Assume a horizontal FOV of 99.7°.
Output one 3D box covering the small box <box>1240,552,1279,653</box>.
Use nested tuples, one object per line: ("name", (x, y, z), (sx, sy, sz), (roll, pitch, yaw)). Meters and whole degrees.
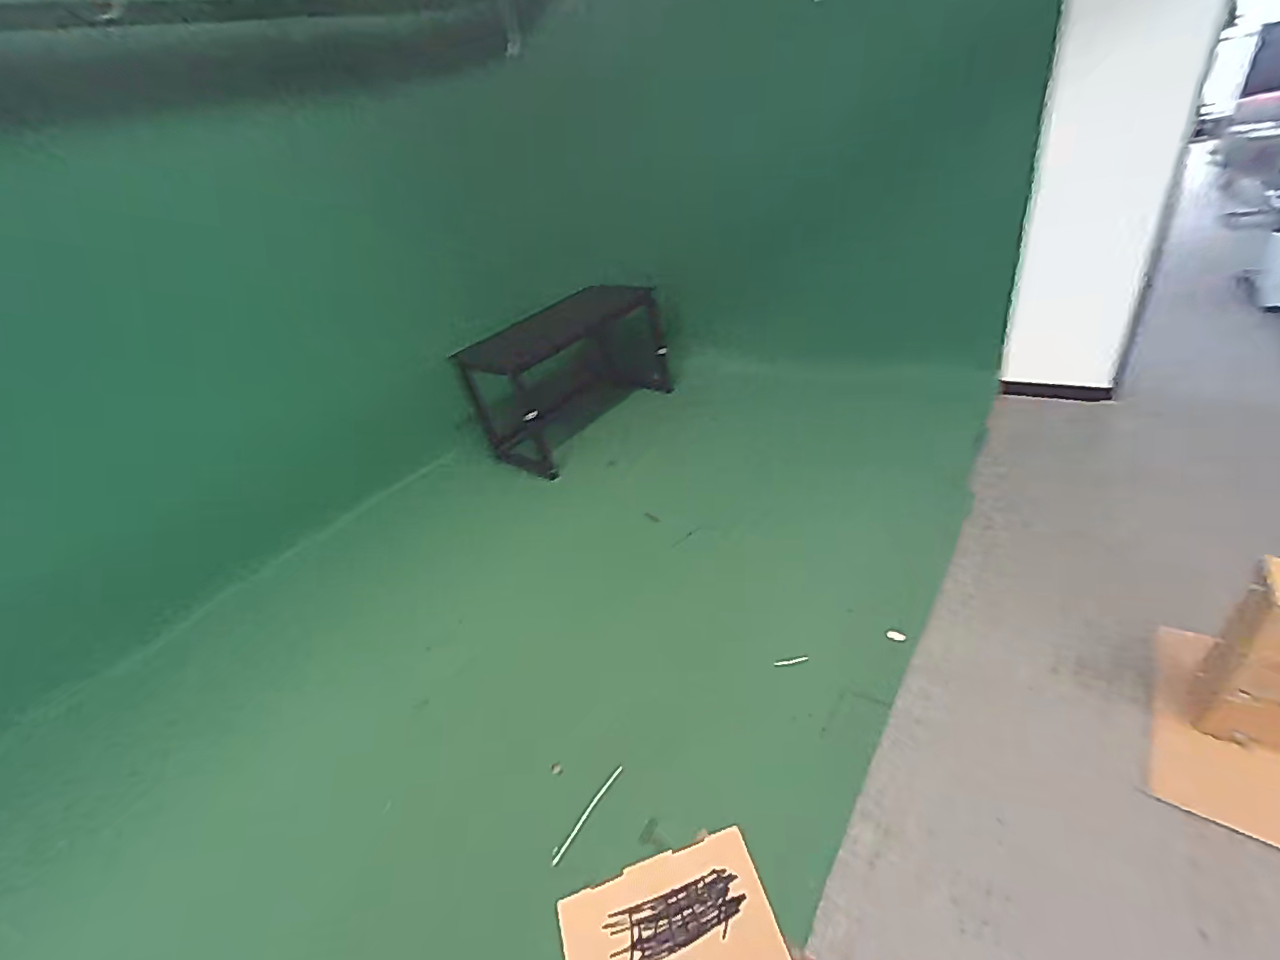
("small box", (1.525, 0.297, 1.232), (0.168, 0.176, 0.179), (11, 41, 34))

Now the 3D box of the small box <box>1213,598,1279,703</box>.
("small box", (1.555, 0.428, 1.323), (0.168, 0.176, 0.179), (11, 41, 34))

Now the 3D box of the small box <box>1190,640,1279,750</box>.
("small box", (1.590, 0.560, 1.413), (0.168, 0.176, 0.179), (9, 41, 31))
